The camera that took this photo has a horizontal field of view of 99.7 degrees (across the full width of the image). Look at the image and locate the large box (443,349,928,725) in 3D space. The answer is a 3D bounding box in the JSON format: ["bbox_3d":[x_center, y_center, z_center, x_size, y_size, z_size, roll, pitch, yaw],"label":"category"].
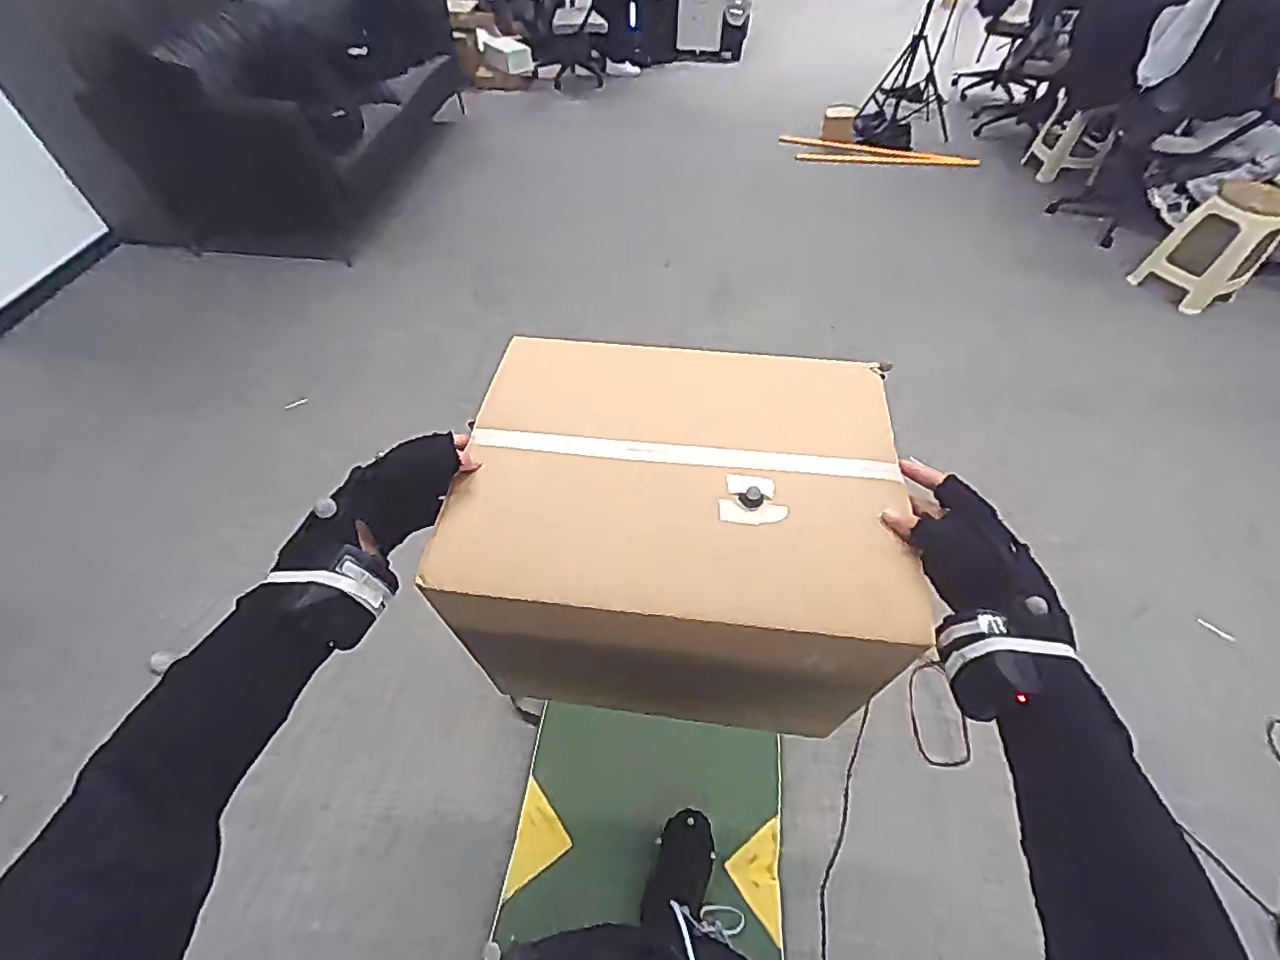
[{"bbox_3d":[0.045,0.074,0.642,0.408,0.320,0.320,6,54,4],"label":"large box"}]
